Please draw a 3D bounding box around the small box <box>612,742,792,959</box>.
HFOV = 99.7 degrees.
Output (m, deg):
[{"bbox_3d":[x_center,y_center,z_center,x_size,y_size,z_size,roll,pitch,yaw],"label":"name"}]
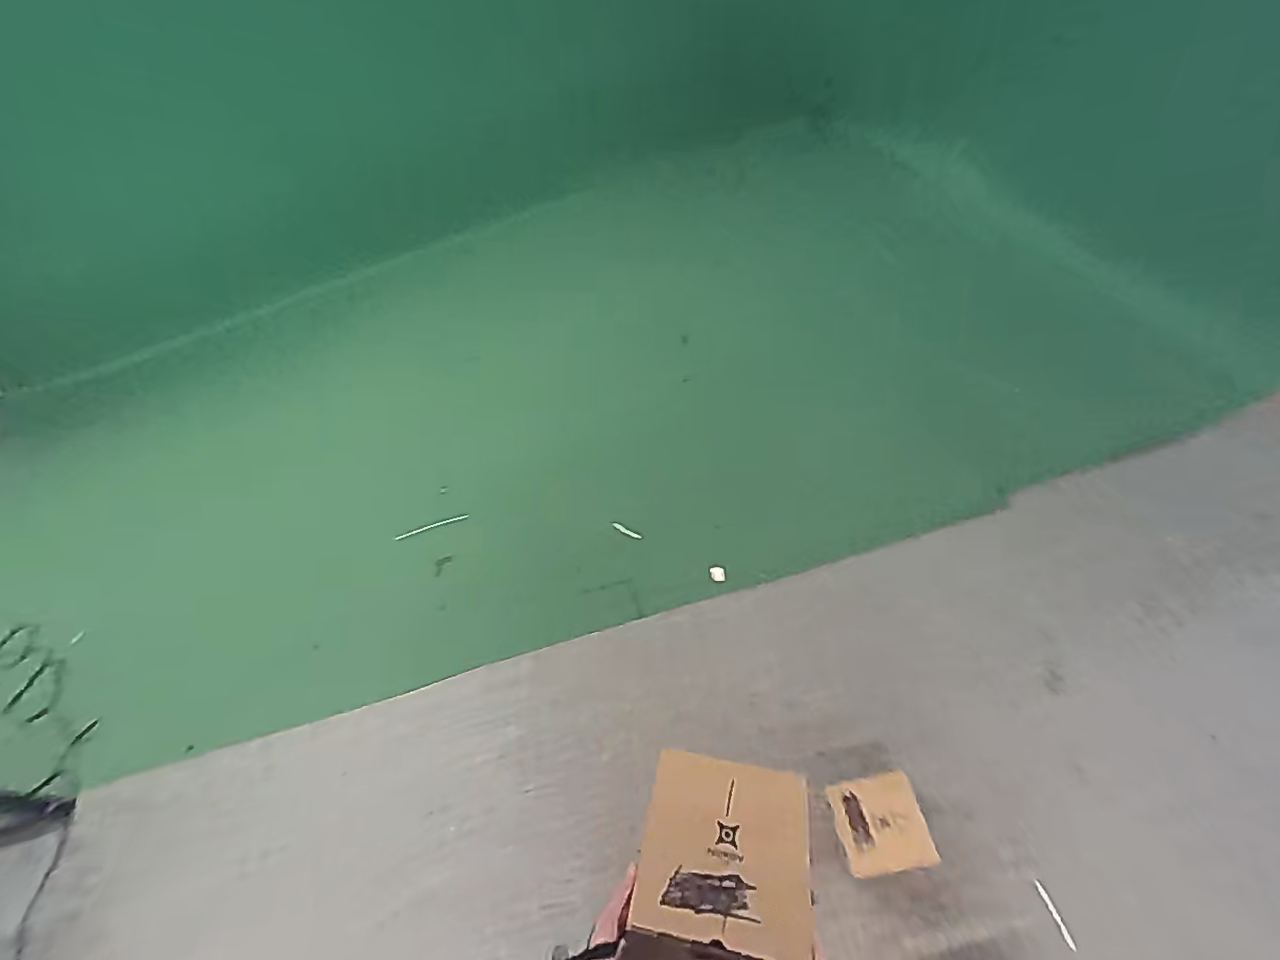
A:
[{"bbox_3d":[0.073,0.428,0.593,0.168,0.176,0.179,6,33,10],"label":"small box"}]
